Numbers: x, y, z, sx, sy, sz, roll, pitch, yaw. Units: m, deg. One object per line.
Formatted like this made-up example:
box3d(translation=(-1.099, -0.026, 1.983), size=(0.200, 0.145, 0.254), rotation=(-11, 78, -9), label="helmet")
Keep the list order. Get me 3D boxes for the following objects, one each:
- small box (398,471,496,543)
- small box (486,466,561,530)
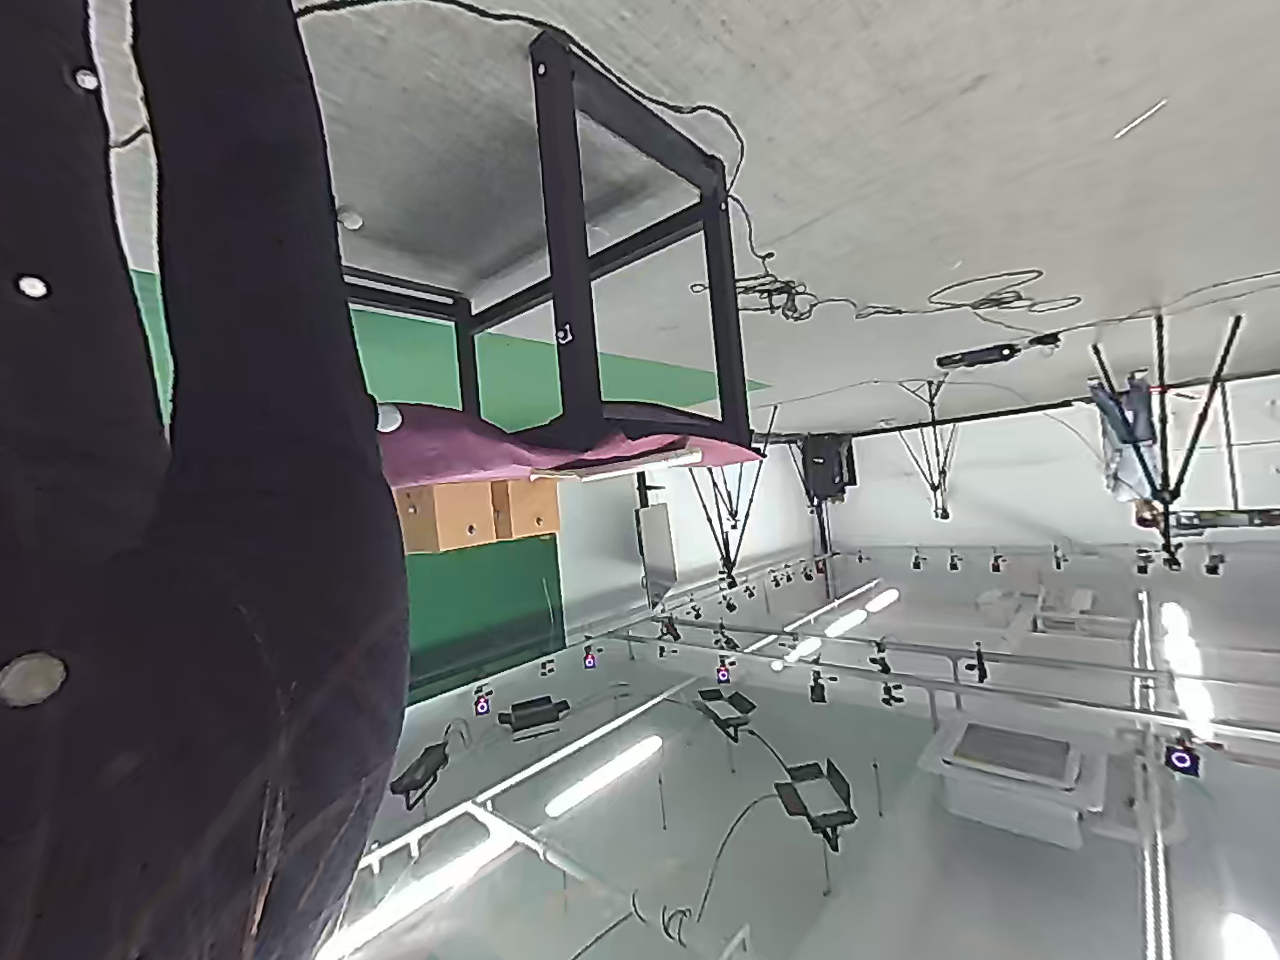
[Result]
box3d(translation=(-0.501, 0.068, 1.404), size=(0.168, 0.176, 0.179), rotation=(-6, 179, 35), label="small box")
box3d(translation=(-0.358, 0.053, 1.582), size=(0.168, 0.176, 0.179), rotation=(-6, 179, 41), label="small box")
